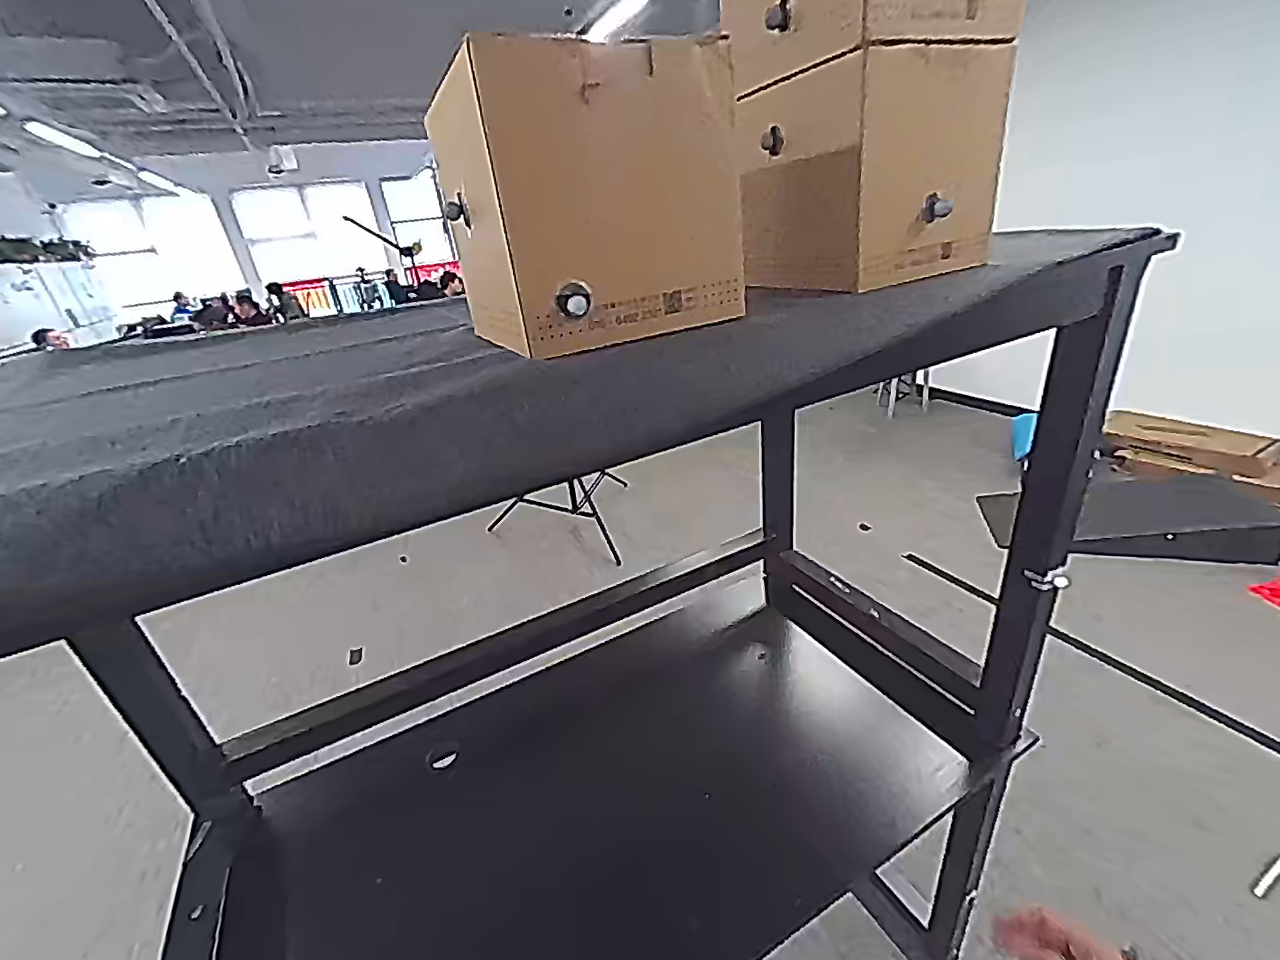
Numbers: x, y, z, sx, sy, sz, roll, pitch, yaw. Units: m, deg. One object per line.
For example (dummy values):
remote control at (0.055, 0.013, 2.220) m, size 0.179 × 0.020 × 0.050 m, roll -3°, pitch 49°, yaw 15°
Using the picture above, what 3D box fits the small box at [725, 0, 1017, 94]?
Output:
small box at (0.181, -0.428, 0.433) m, size 0.168 × 0.176 × 0.179 m, roll -17°, pitch 27°, yaw -20°

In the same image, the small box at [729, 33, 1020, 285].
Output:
small box at (0.200, -0.281, 0.501) m, size 0.168 × 0.176 × 0.179 m, roll -19°, pitch 27°, yaw -20°

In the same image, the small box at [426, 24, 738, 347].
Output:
small box at (-0.042, -0.200, 0.399) m, size 0.168 × 0.176 × 0.179 m, roll -18°, pitch 25°, yaw -22°
